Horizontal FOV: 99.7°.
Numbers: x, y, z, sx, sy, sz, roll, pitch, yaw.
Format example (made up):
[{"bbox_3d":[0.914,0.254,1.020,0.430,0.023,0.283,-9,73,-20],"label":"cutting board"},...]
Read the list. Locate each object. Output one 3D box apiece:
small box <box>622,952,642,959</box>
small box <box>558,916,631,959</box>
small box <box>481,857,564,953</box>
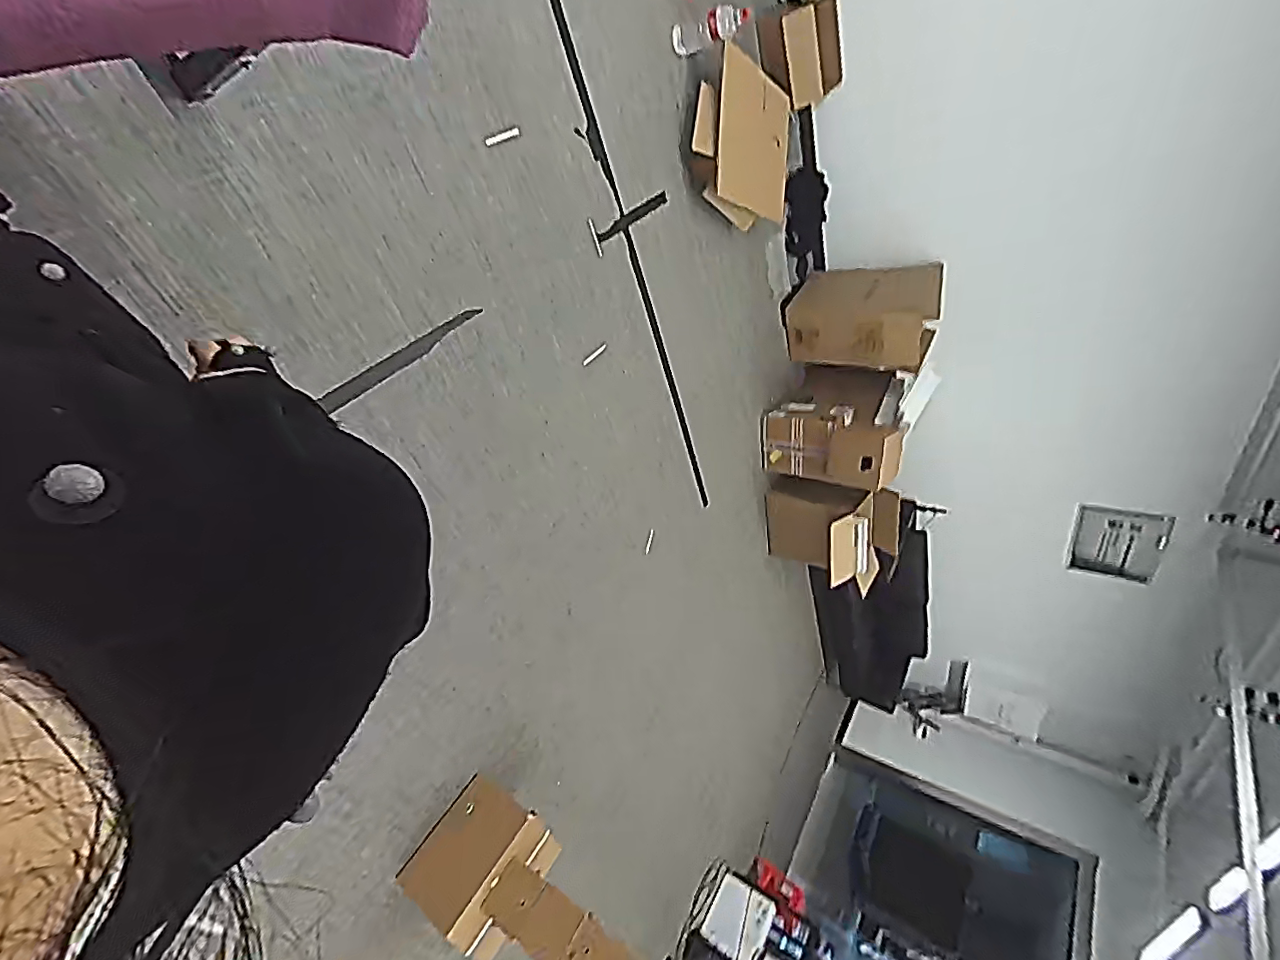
[{"bbox_3d":[0.009,1.478,1.514,0.168,0.176,0.179,-51,134,-34],"label":"small box"},{"bbox_3d":[-0.123,1.452,1.609,0.168,0.176,0.179,-50,134,-34],"label":"small box"},{"bbox_3d":[-0.390,1.400,1.791,0.179,0.176,0.168,-49,134,-33],"label":"small box"}]
